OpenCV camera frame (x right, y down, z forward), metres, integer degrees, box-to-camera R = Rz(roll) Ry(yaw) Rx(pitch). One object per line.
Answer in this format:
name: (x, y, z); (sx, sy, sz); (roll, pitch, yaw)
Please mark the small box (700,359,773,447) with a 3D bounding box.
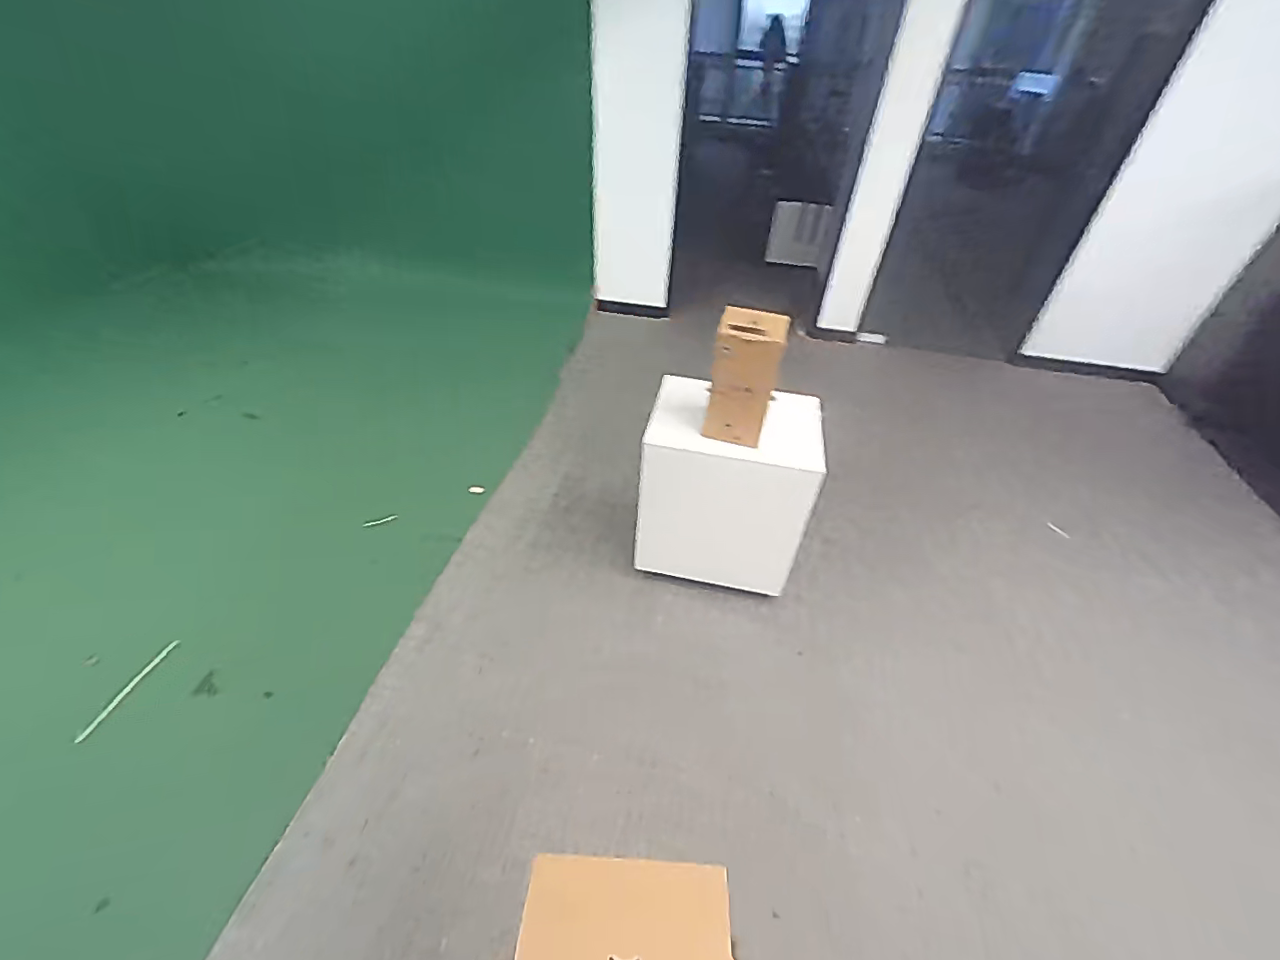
small box: (0.276, -0.224, 1.565); (0.168, 0.176, 0.179); (13, 41, 11)
